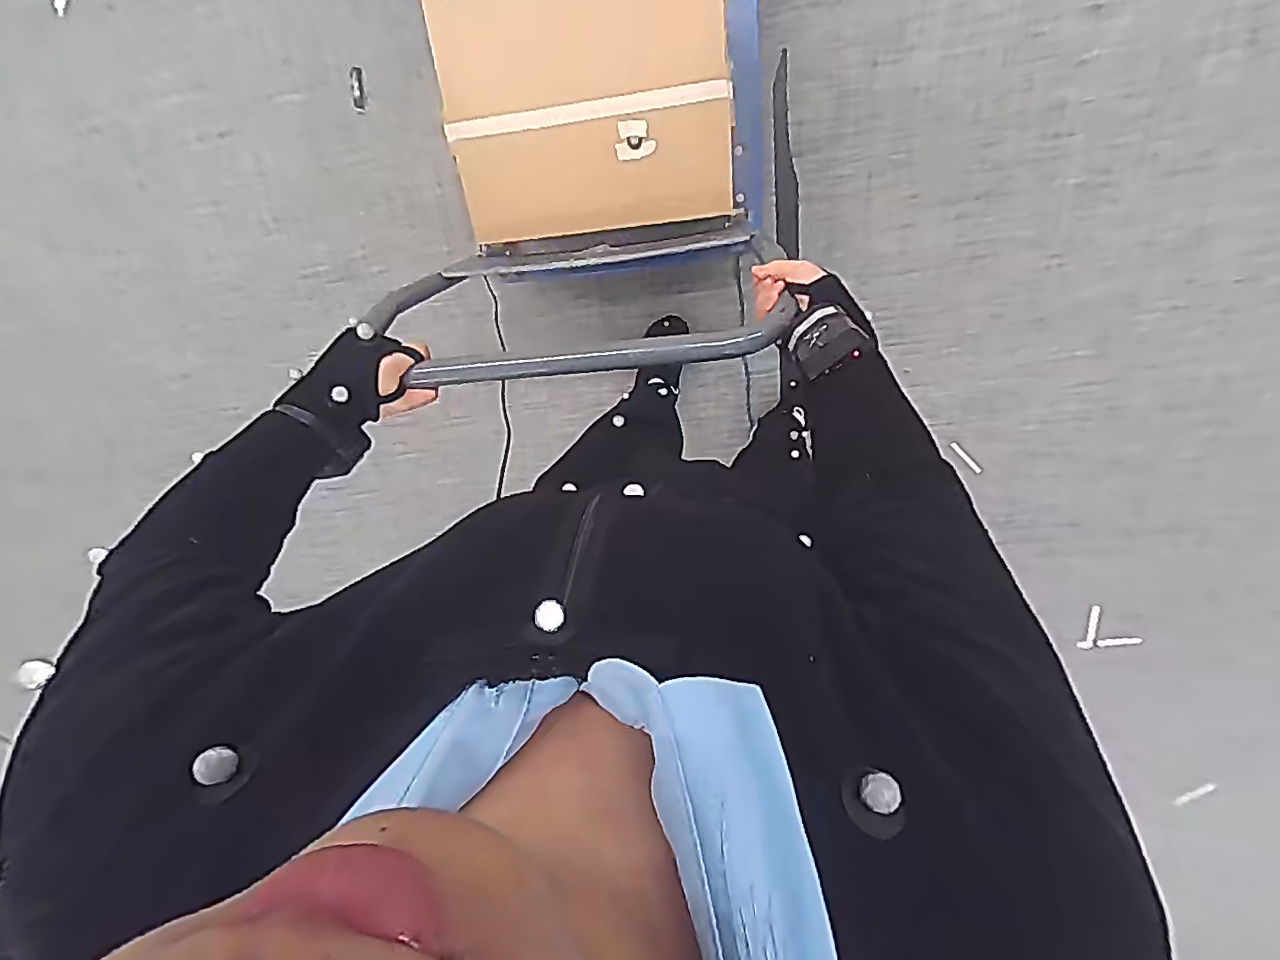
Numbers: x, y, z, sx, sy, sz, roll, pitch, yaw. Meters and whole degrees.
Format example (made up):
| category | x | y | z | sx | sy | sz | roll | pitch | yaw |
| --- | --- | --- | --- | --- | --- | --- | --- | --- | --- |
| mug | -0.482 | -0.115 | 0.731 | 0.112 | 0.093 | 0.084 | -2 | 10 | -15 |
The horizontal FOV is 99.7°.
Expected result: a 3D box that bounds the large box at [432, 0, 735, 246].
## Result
| category | x | y | z | sx | sy | sz | roll | pitch | yaw |
| --- | --- | --- | --- | --- | --- | --- | --- | --- | --- |
| large box | -0.062 | -0.591 | 0.907 | 0.408 | 0.320 | 0.320 | -4 | 117 | 6 |
